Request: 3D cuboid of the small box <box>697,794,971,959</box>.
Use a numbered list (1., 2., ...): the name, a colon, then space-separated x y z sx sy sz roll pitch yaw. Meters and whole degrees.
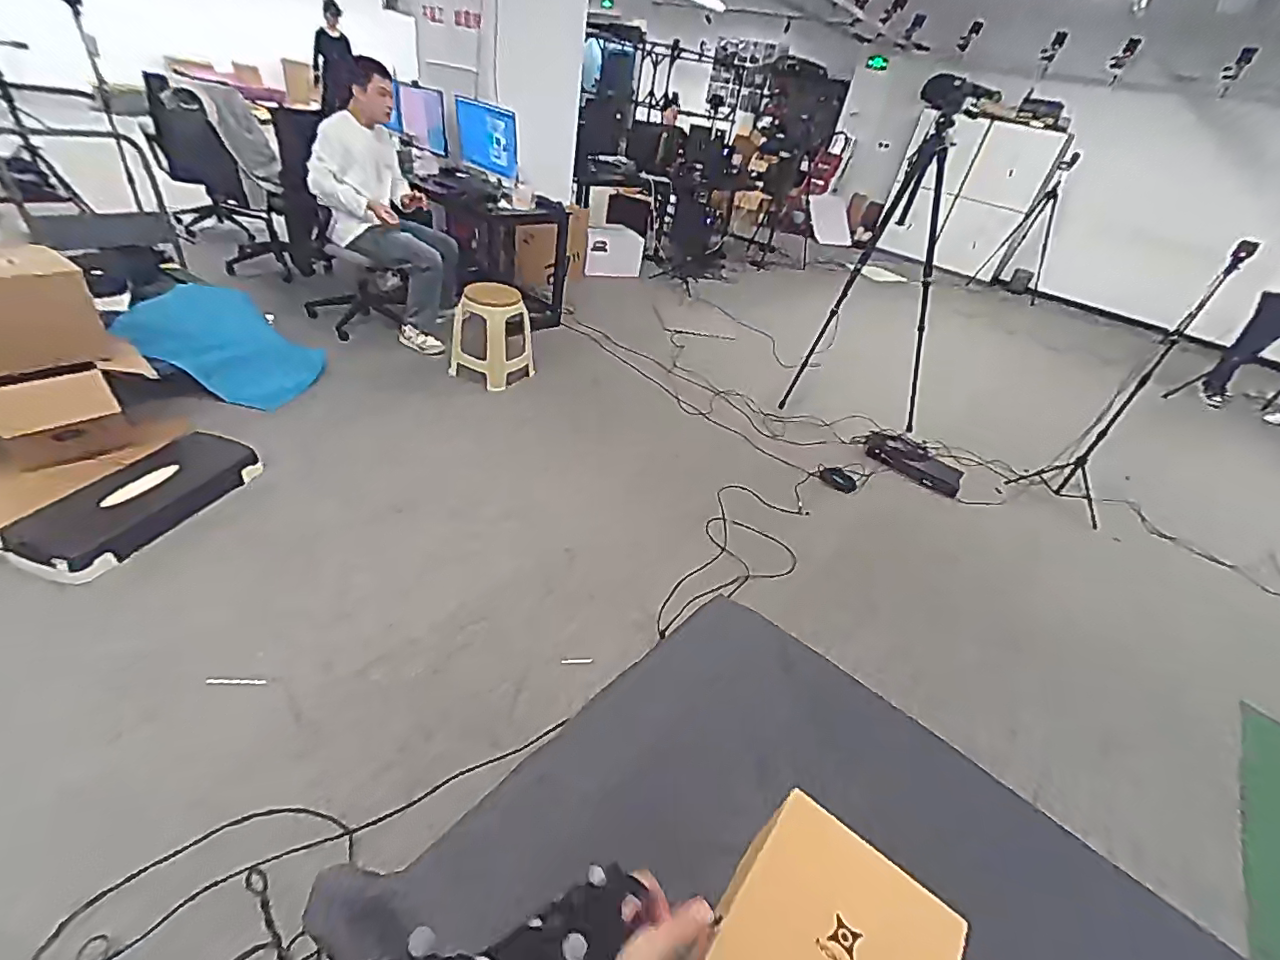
1. small box: 0.153 0.437 0.478 0.168 0.176 0.179 31 39 25
